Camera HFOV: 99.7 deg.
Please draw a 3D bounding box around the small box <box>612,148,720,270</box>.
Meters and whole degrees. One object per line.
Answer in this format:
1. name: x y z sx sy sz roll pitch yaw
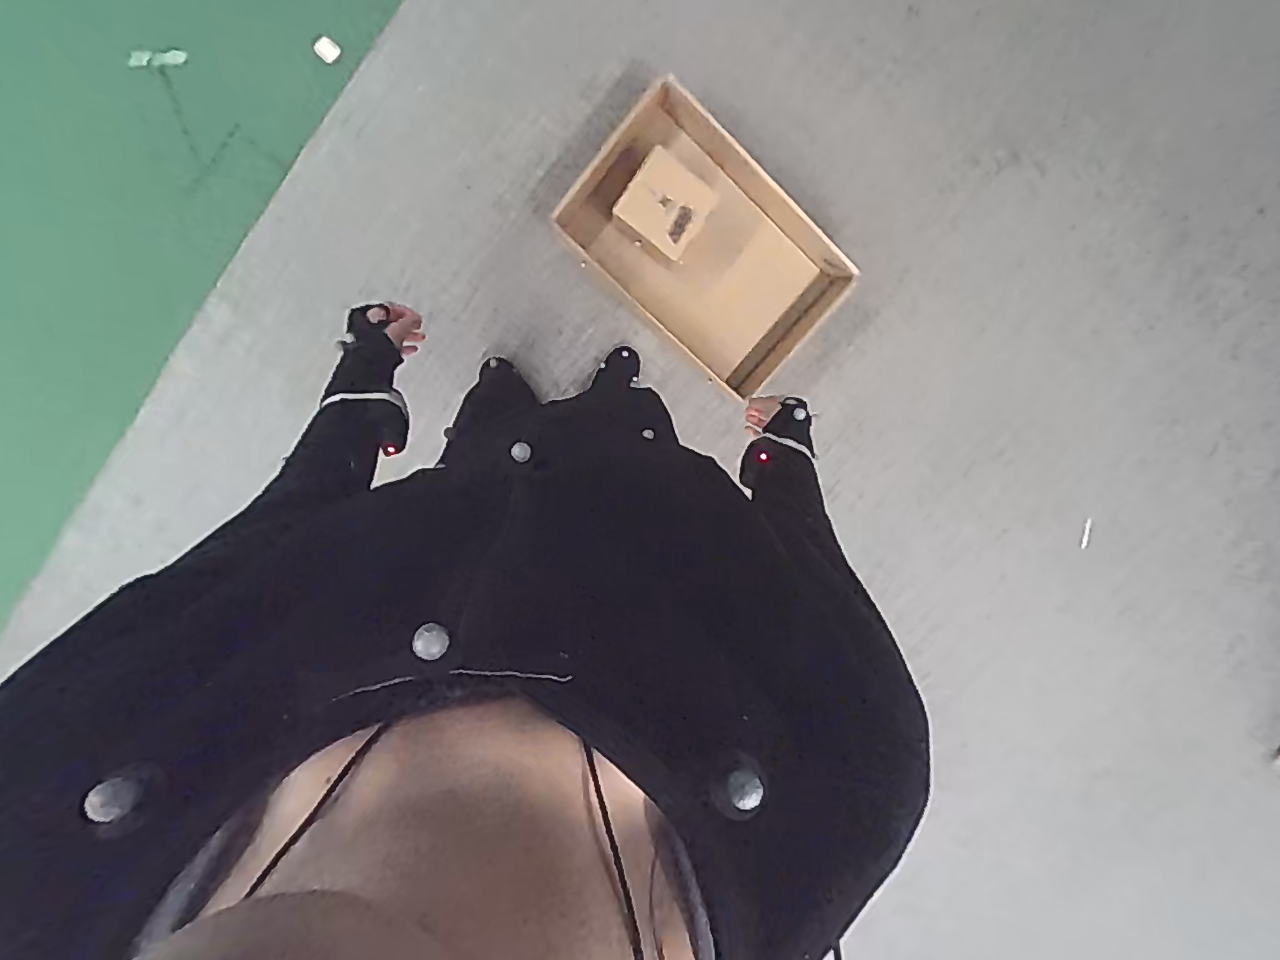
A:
1. small box: 0.057 -0.602 1.235 0.179 0.176 0.168 38 99 -7
